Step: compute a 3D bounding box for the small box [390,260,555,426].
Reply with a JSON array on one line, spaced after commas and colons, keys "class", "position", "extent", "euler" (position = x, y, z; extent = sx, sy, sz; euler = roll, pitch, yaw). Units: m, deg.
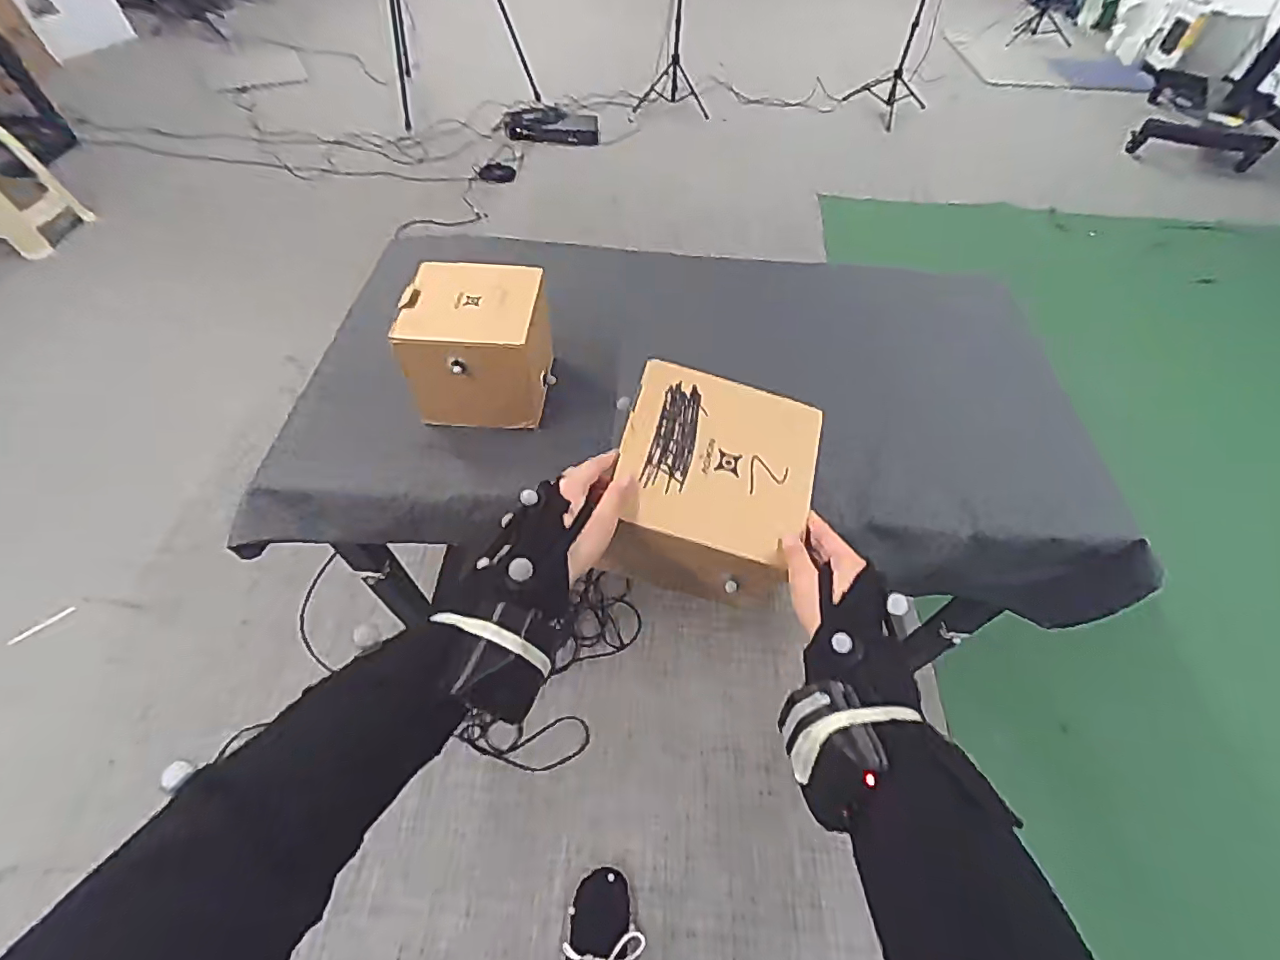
[{"class": "small box", "position": [-0.228, -0.195, 0.789], "extent": [0.179, 0.176, 0.168], "euler": [3, 55, -1]}]
